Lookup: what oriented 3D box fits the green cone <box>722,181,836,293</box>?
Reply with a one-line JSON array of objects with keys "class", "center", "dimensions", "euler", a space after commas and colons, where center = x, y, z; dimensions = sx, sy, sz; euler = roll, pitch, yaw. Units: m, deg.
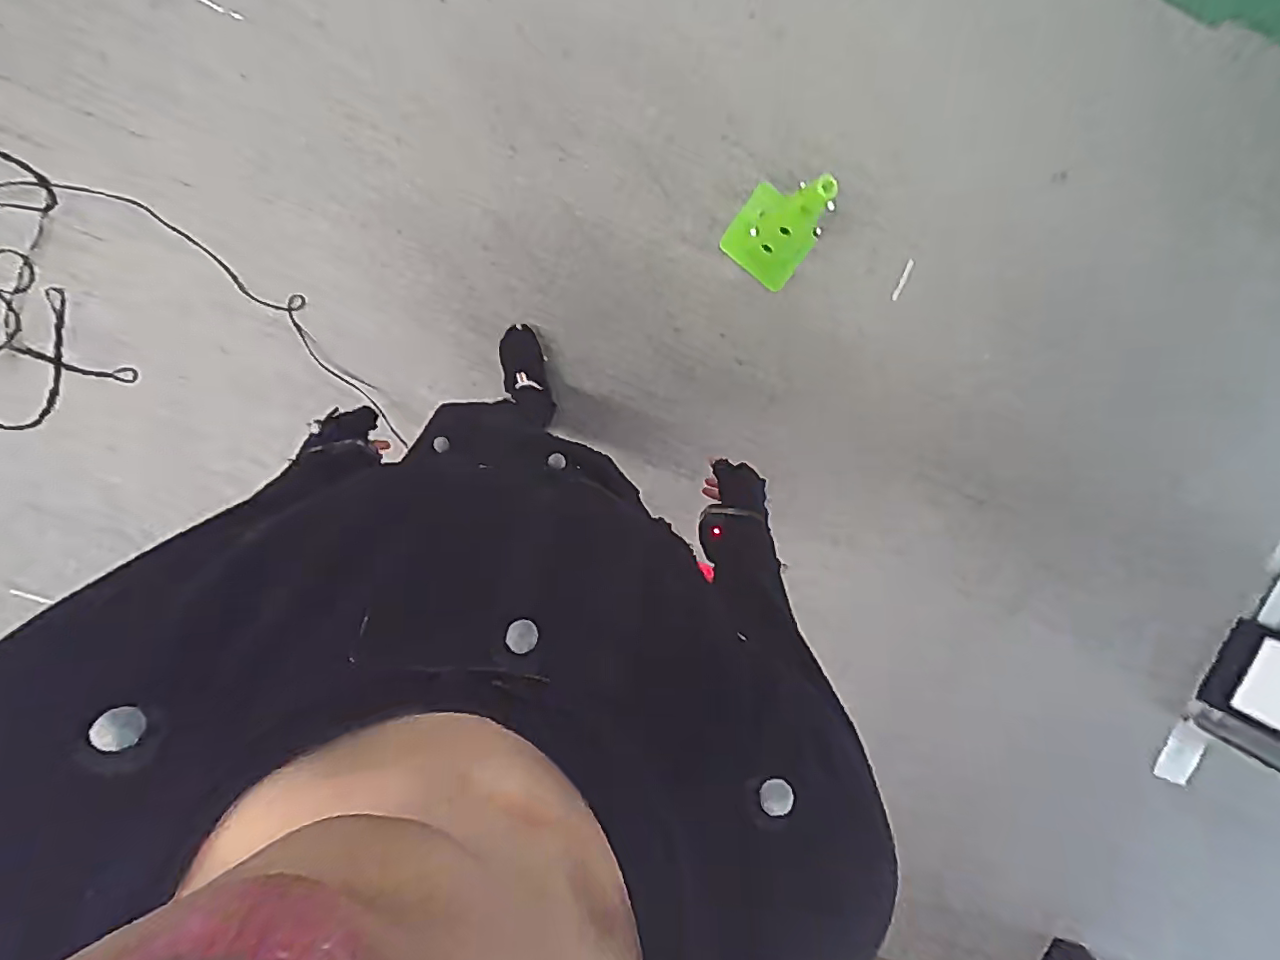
[{"class": "green cone", "center": [0.348, -0.590, 1.218], "dimensions": [0.200, 0.368, 0.202], "euler": [35, 95, -8]}]
